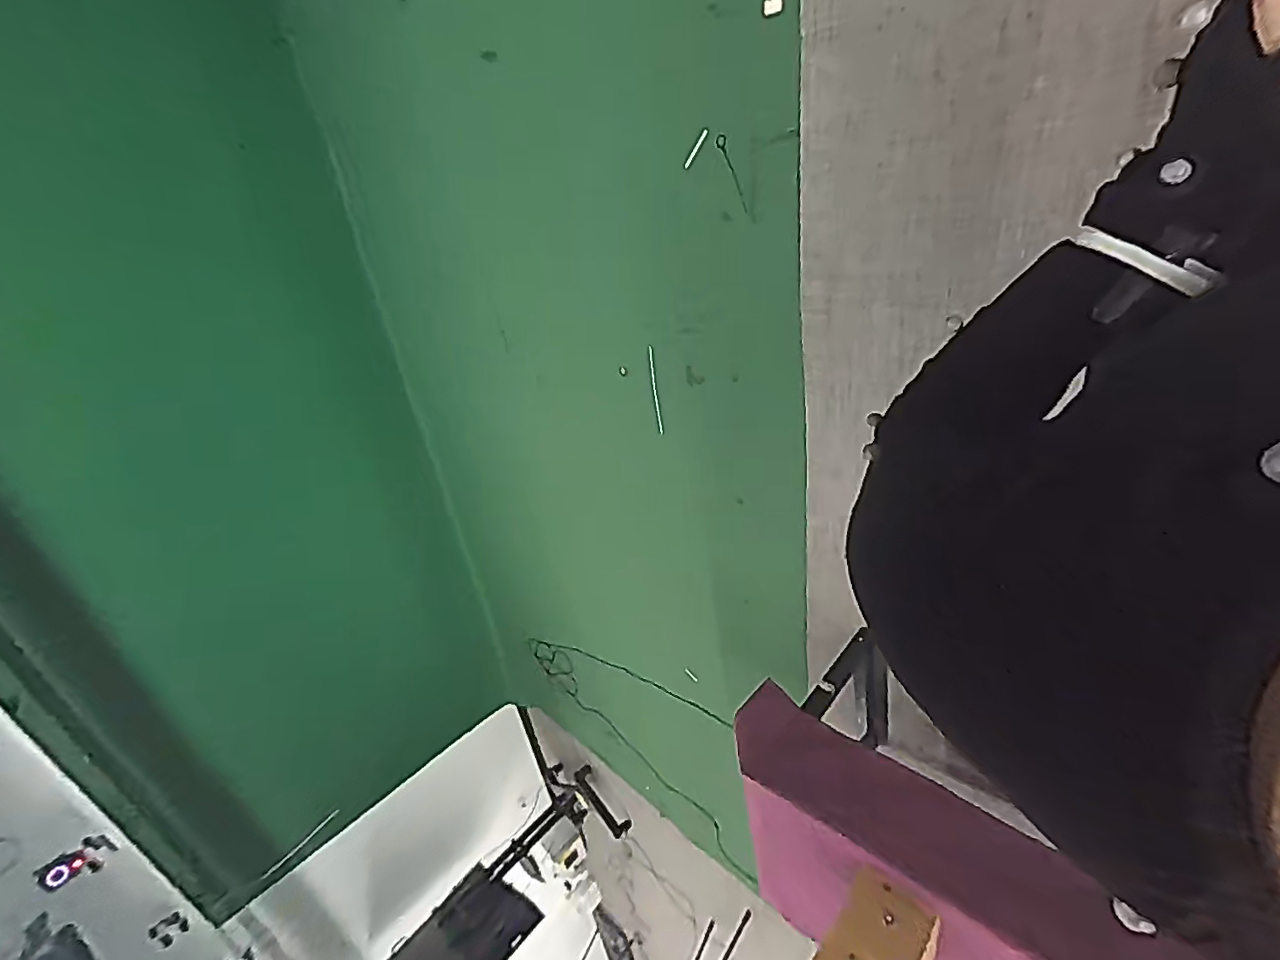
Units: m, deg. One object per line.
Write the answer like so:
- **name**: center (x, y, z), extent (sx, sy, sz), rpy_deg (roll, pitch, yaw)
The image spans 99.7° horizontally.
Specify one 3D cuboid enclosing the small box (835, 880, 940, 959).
- **small box**: center (0.543, 1.043, 1.191), extent (0.168, 0.176, 0.179), rpy_deg (15, 125, 43)
